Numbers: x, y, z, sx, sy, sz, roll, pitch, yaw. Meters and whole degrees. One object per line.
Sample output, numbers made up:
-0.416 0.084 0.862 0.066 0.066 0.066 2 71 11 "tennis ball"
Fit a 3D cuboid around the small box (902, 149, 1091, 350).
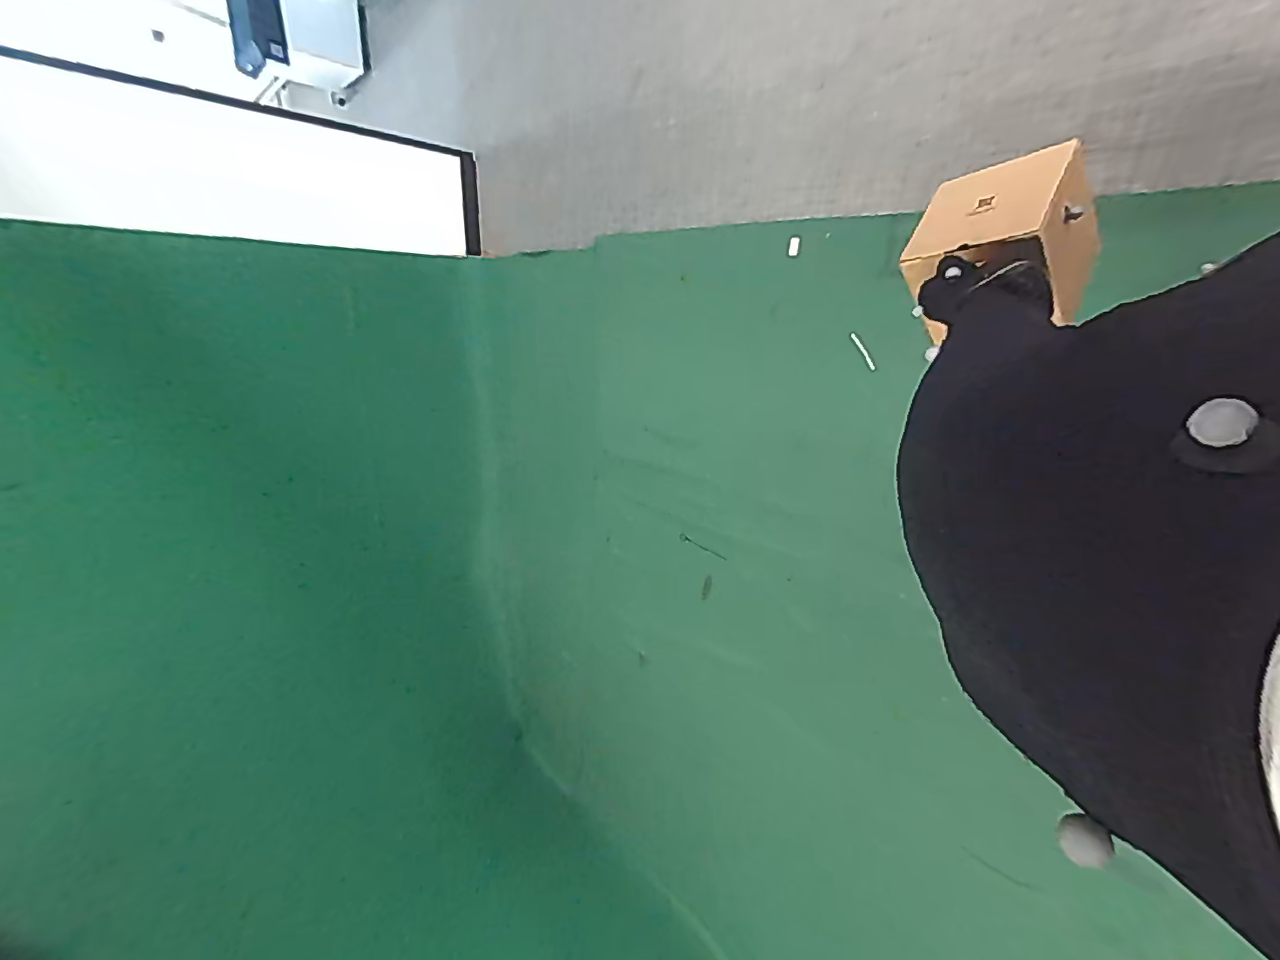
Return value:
0.505 -0.309 0.759 0.176 0.179 0.168 44 159 -32 "small box"
